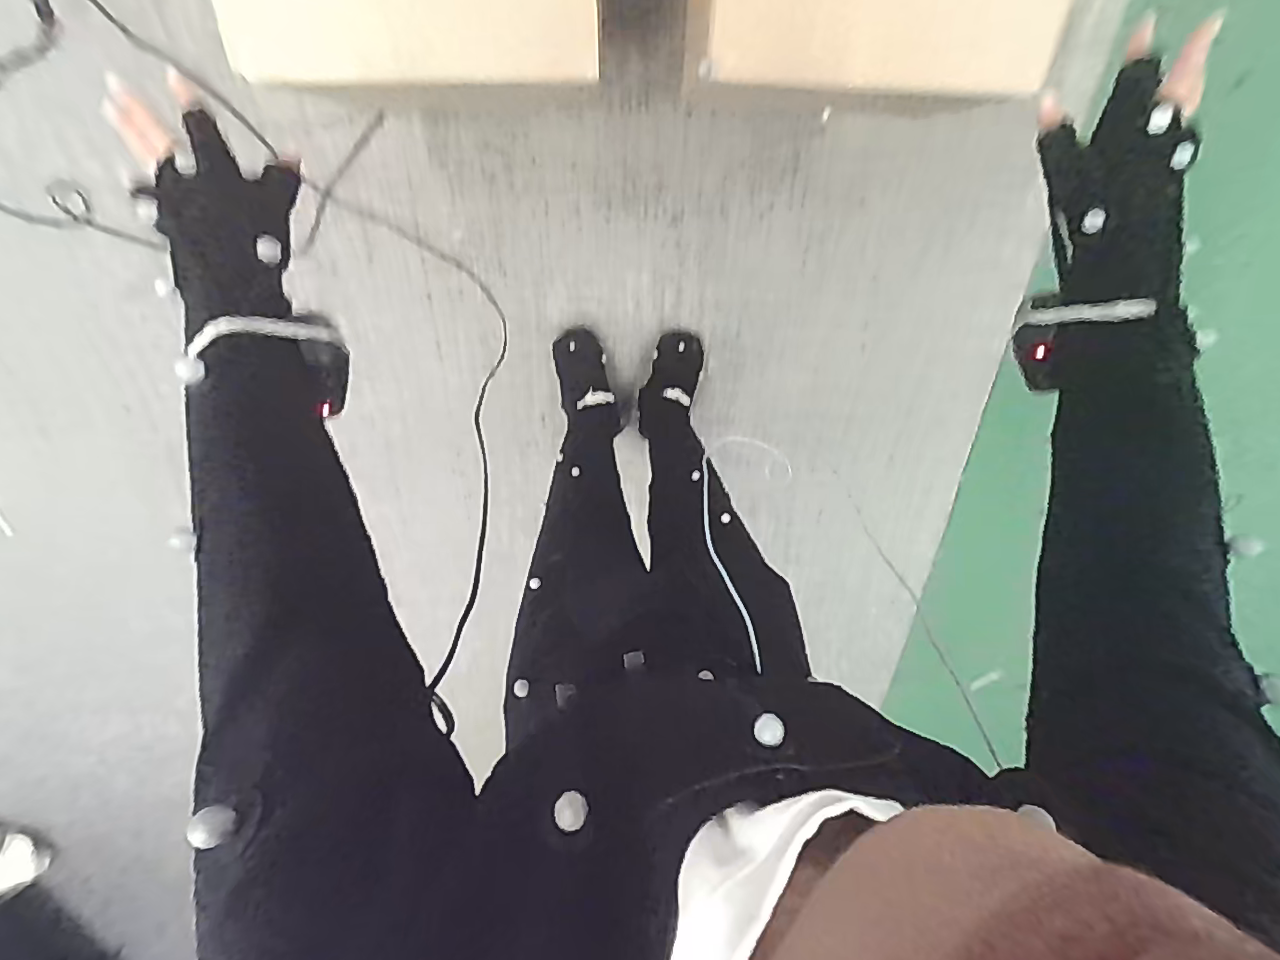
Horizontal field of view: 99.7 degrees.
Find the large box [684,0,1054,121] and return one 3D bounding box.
[{"bbox_3d":[0.282,-0.677,0.722,0.408,0.320,0.320,1,119,-3],"label":"large box"}]
